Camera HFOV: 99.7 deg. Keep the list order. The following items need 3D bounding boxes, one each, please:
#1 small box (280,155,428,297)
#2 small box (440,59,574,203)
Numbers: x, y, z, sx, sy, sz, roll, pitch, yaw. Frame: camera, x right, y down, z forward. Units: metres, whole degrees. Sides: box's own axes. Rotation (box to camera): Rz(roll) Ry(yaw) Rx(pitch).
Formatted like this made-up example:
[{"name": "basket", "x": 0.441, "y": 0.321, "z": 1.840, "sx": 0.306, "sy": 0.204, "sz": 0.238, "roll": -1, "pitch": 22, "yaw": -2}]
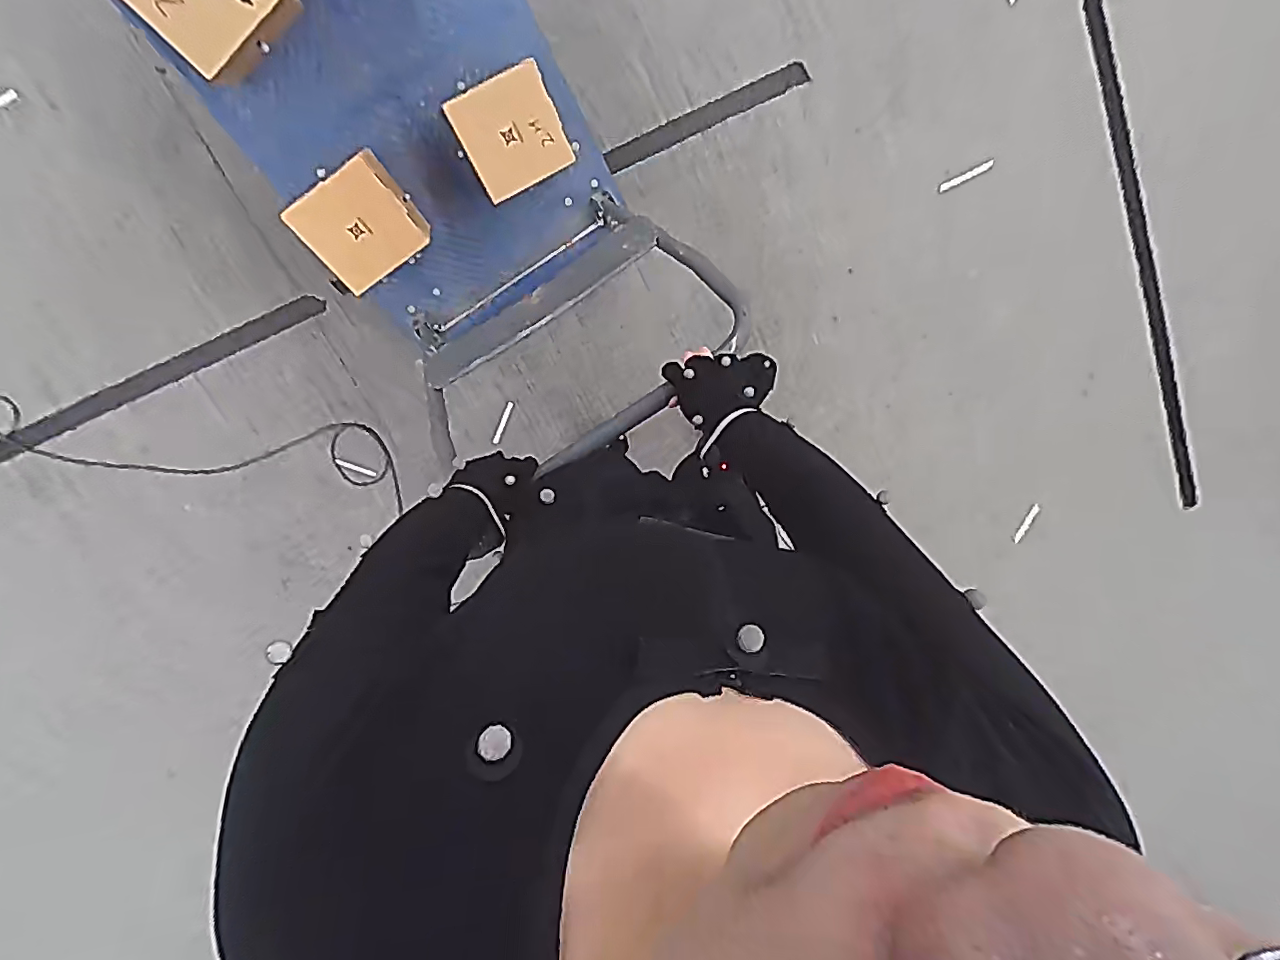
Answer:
[{"name": "small box", "x": -0.520, "y": -0.477, "z": 1.010, "sx": 0.179, "sy": 0.176, "sz": 0.168, "roll": -36, "pitch": 128, "yaw": 2}, {"name": "small box", "x": -0.249, "y": -0.644, "z": 1.005, "sx": 0.179, "sy": 0.176, "sz": 0.168, "roll": -29, "pitch": 129, "yaw": -1}]
